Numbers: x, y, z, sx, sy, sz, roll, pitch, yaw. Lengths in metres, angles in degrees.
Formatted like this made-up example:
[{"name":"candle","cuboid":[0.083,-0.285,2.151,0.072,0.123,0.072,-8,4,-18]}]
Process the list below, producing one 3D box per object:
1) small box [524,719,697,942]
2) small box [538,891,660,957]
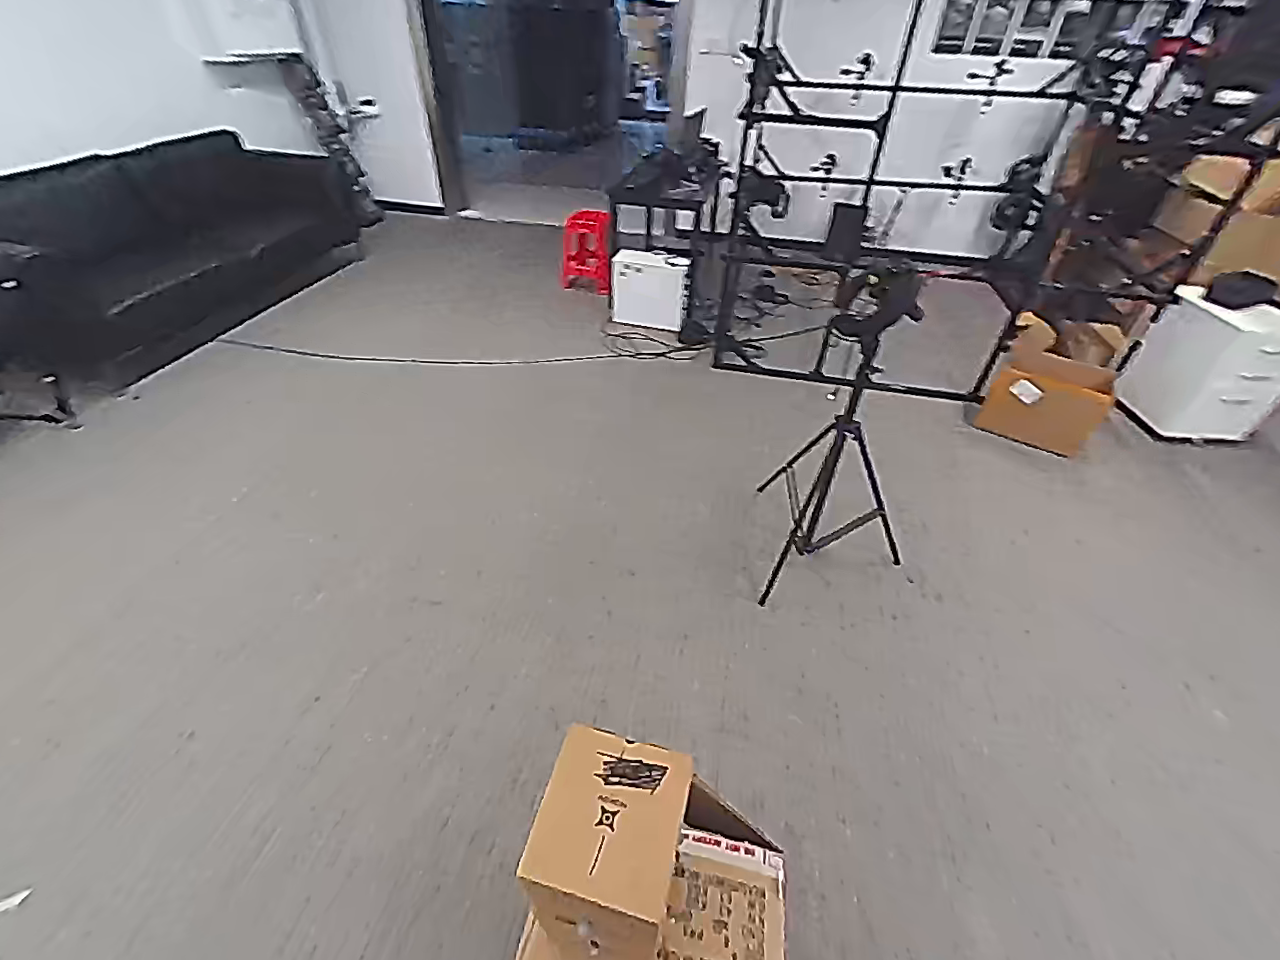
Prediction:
[{"name":"small box","cuboid":[-0.029,0.444,0.688,0.168,0.176,0.179,10,44,12]},{"name":"small box","cuboid":[-0.037,0.564,0.801,0.168,0.176,0.179,8,43,9]}]
